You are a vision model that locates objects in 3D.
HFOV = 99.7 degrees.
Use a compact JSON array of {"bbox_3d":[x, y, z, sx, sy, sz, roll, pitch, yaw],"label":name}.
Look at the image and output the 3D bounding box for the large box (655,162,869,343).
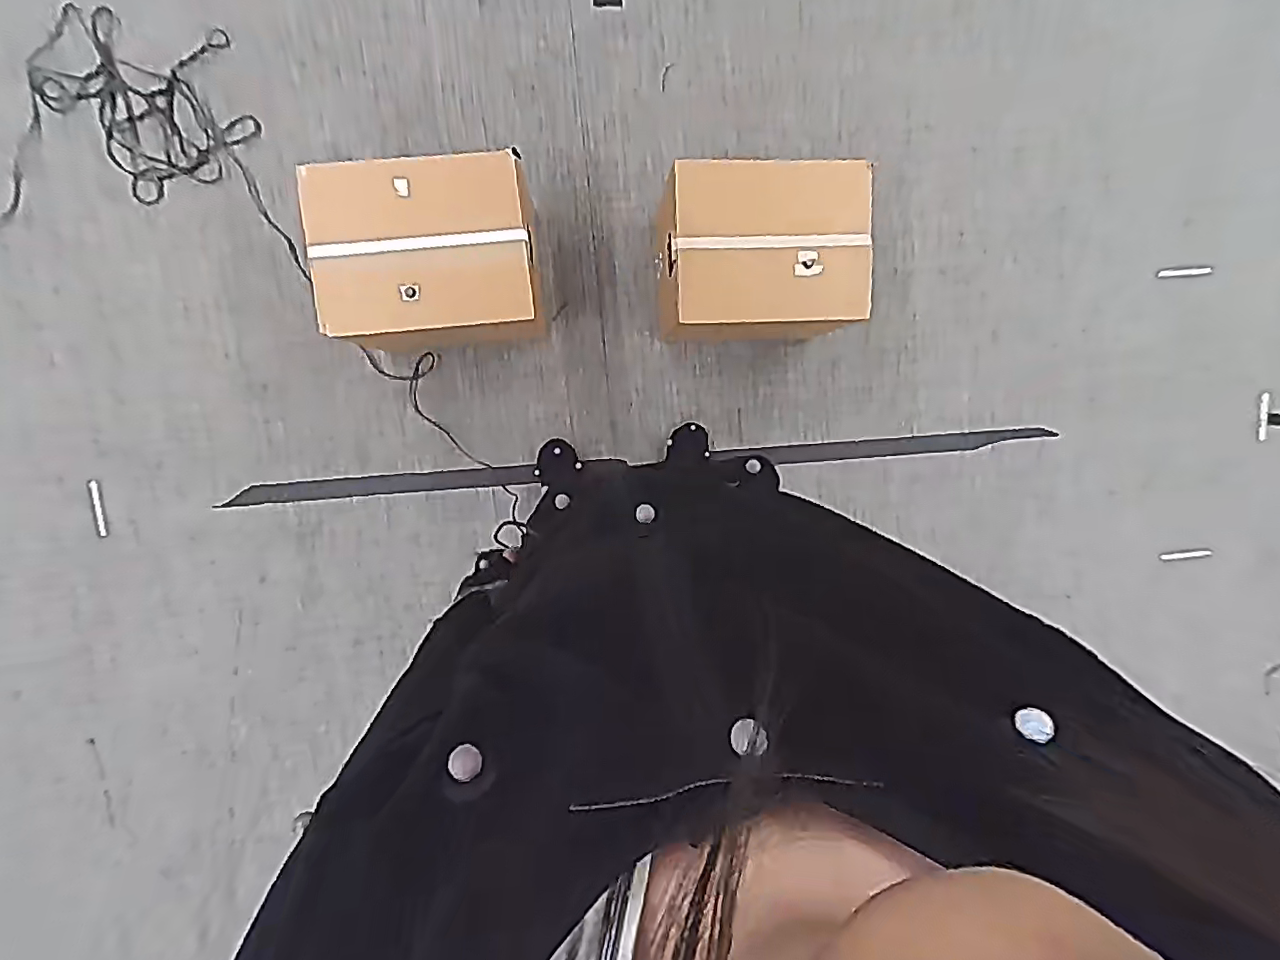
[{"bbox_3d":[0.257,-0.499,1.243,0.408,0.320,0.320,-3,97,-5],"label":"large box"}]
